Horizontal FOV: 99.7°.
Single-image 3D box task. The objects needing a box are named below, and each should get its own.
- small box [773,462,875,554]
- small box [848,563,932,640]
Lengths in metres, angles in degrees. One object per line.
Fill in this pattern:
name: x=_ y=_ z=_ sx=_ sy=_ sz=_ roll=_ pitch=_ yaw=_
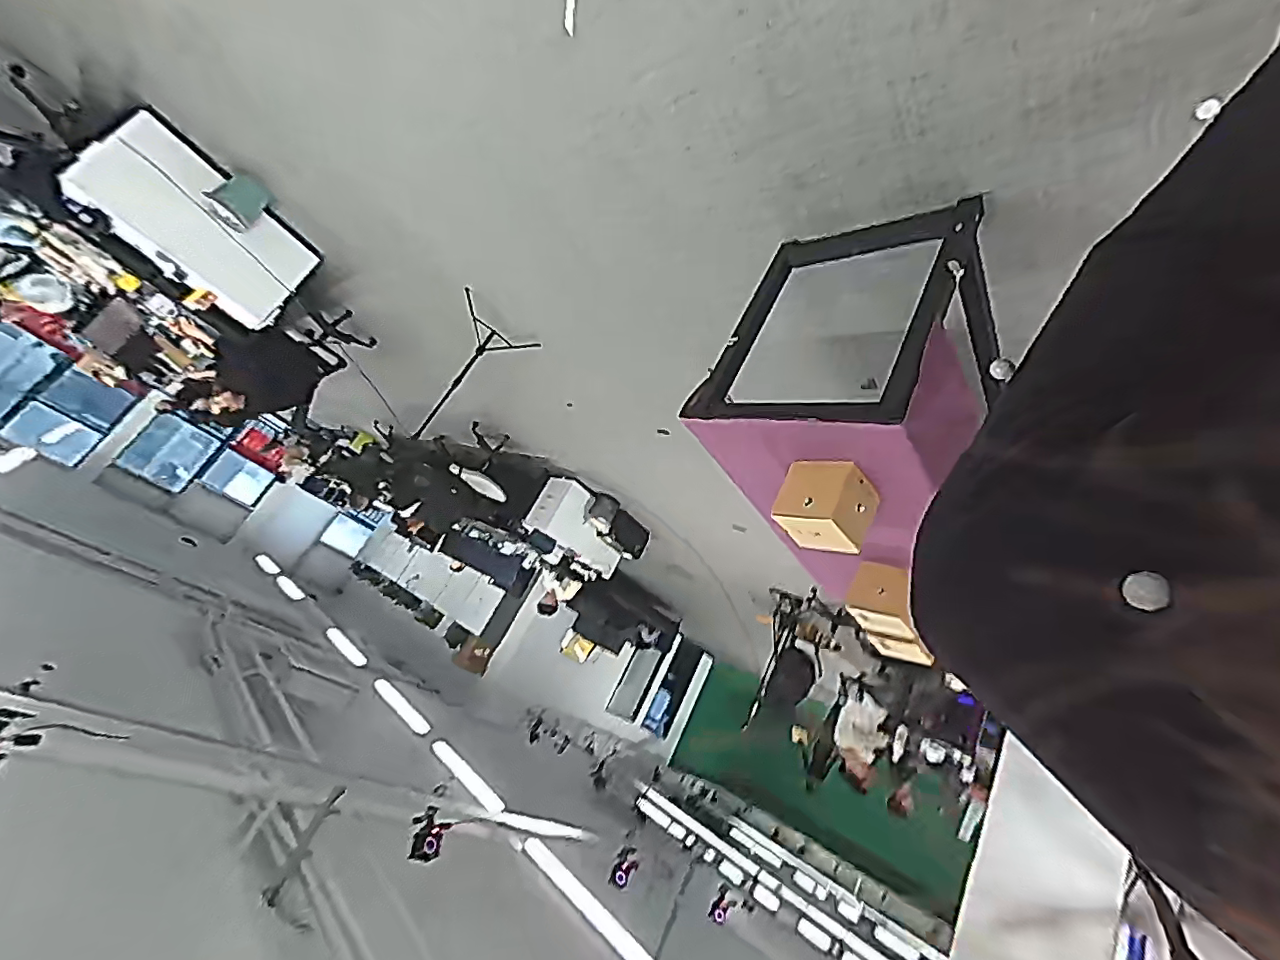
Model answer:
small box: x=0.476 y=0.067 z=1.375 sx=0.168 sy=0.176 sz=0.179 roll=41 pitch=158 yaw=-32
small box: x=0.806 y=0.382 z=1.735 sx=0.179 sy=0.176 sz=0.168 roll=5 pitch=150 yaw=49
